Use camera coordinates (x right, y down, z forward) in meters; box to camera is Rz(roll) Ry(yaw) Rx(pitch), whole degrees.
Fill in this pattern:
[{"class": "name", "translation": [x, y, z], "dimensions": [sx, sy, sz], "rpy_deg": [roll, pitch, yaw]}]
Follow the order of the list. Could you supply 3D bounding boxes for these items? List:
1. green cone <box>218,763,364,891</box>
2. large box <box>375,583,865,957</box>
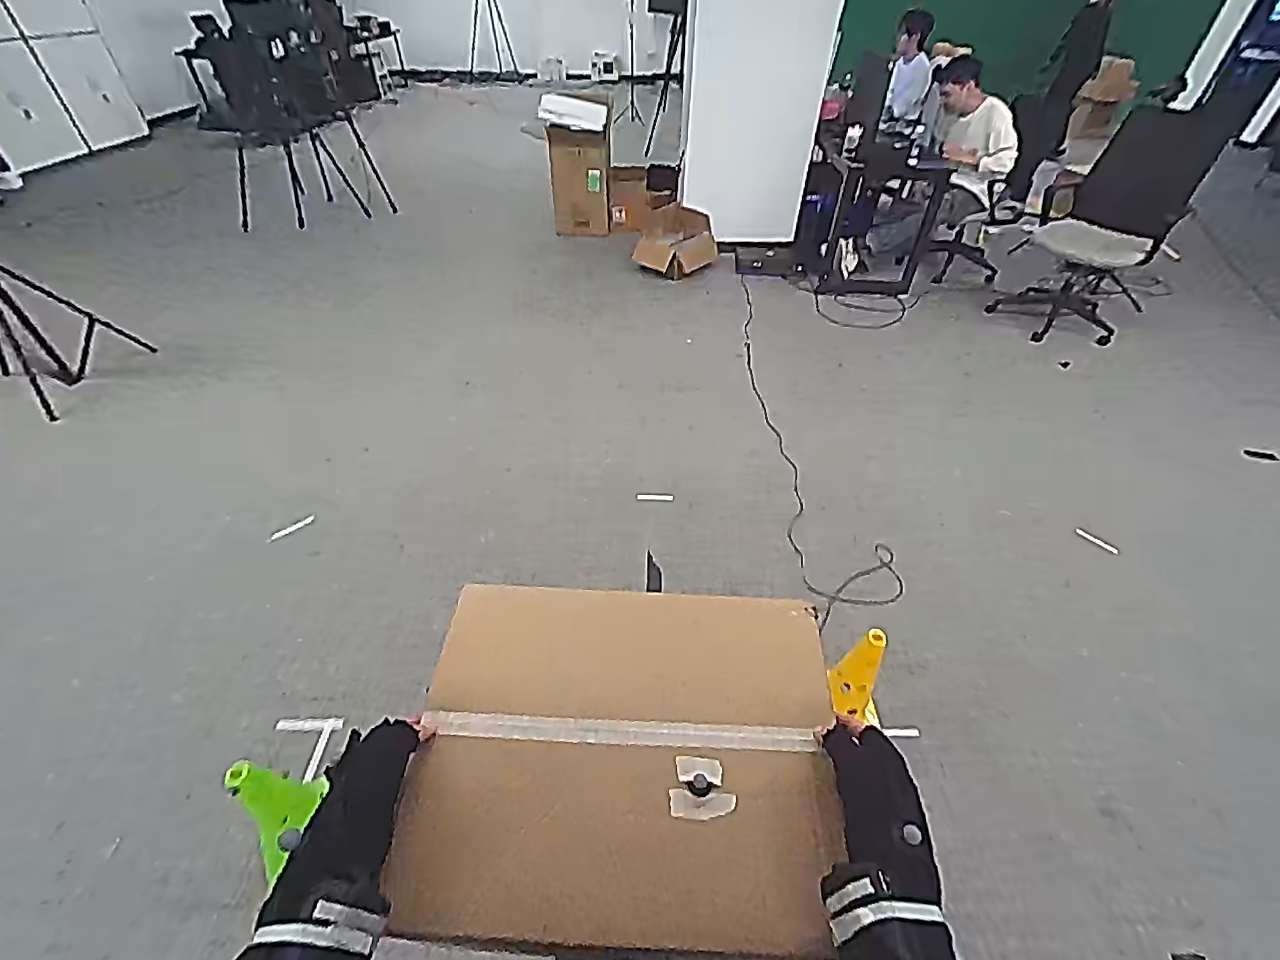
[{"class": "green cone", "translation": [-0.774, 0.684, 1.153], "dimensions": [0.202, 0.368, 0.200], "rpy_deg": [-27, 49, -25]}, {"class": "large box", "translation": [-0.016, 0.343, 0.639], "dimensions": [0.408, 0.320, 0.320], "rpy_deg": [3, 47, 1]}]
